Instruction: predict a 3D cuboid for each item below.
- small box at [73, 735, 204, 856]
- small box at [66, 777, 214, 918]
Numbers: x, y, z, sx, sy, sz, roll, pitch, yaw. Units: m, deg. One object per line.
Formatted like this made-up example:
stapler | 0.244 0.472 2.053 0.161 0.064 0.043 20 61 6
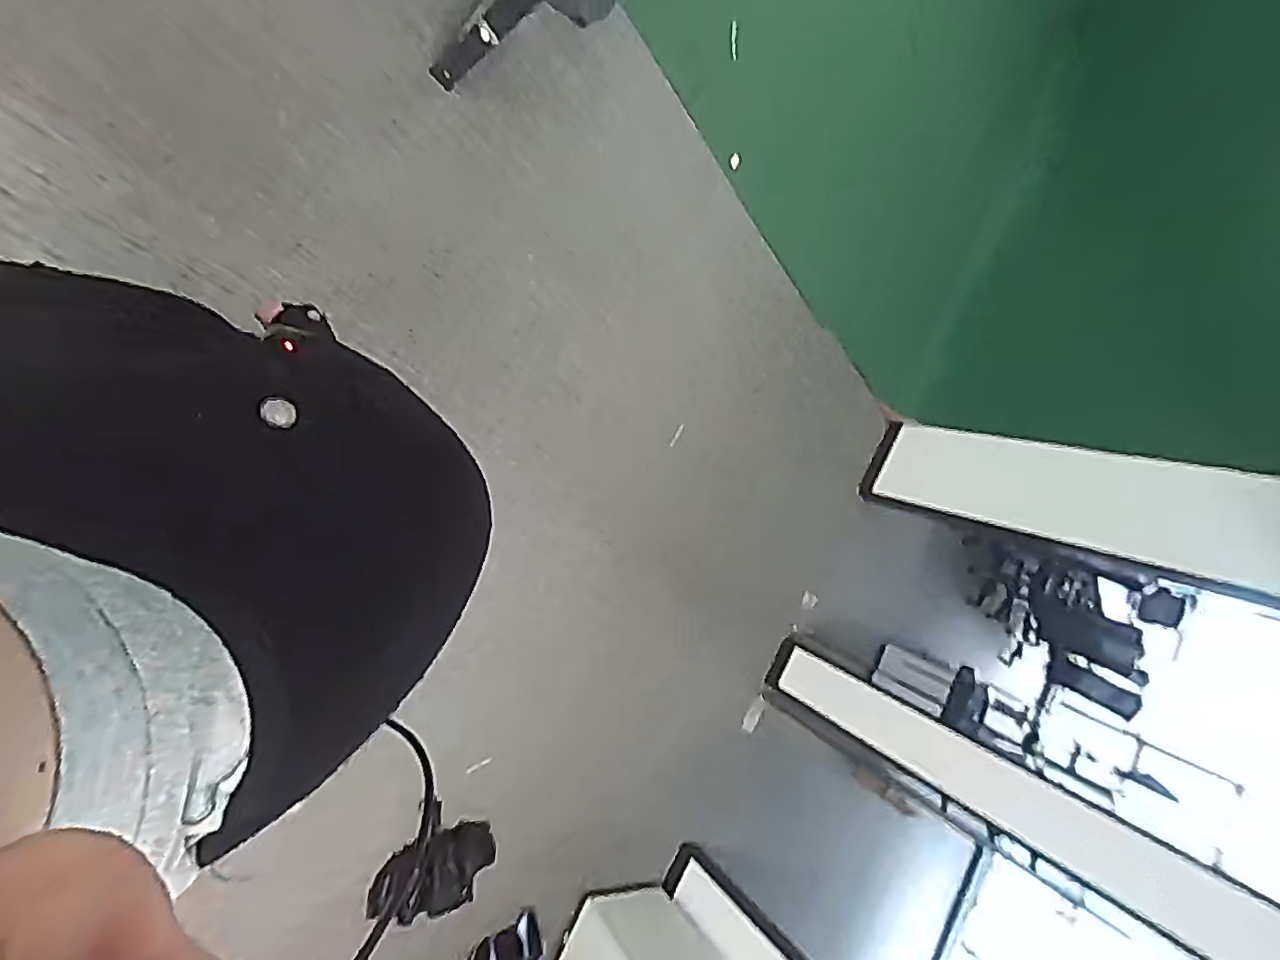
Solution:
small box | -1.147 0.724 1.249 0.168 0.176 0.179 33 80 -43
small box | -1.036 0.761 1.134 0.168 0.176 0.179 35 79 -42
